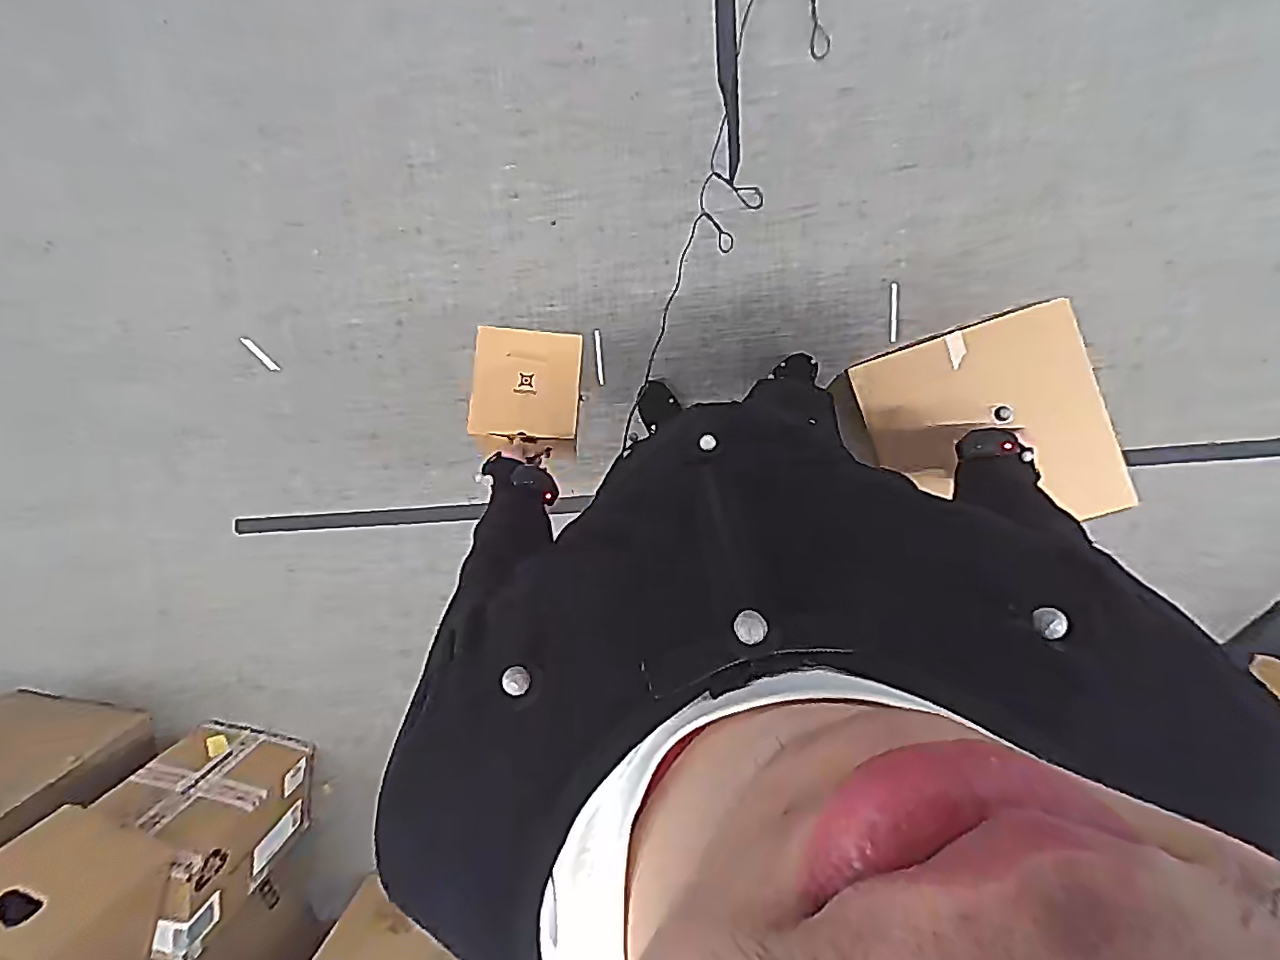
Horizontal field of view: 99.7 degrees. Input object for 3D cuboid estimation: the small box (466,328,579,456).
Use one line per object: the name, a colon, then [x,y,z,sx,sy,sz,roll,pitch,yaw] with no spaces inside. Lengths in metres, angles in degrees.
small box: [-0.194,-0.141,0.932,0.168,0.176,0.179,4,83,-8]
